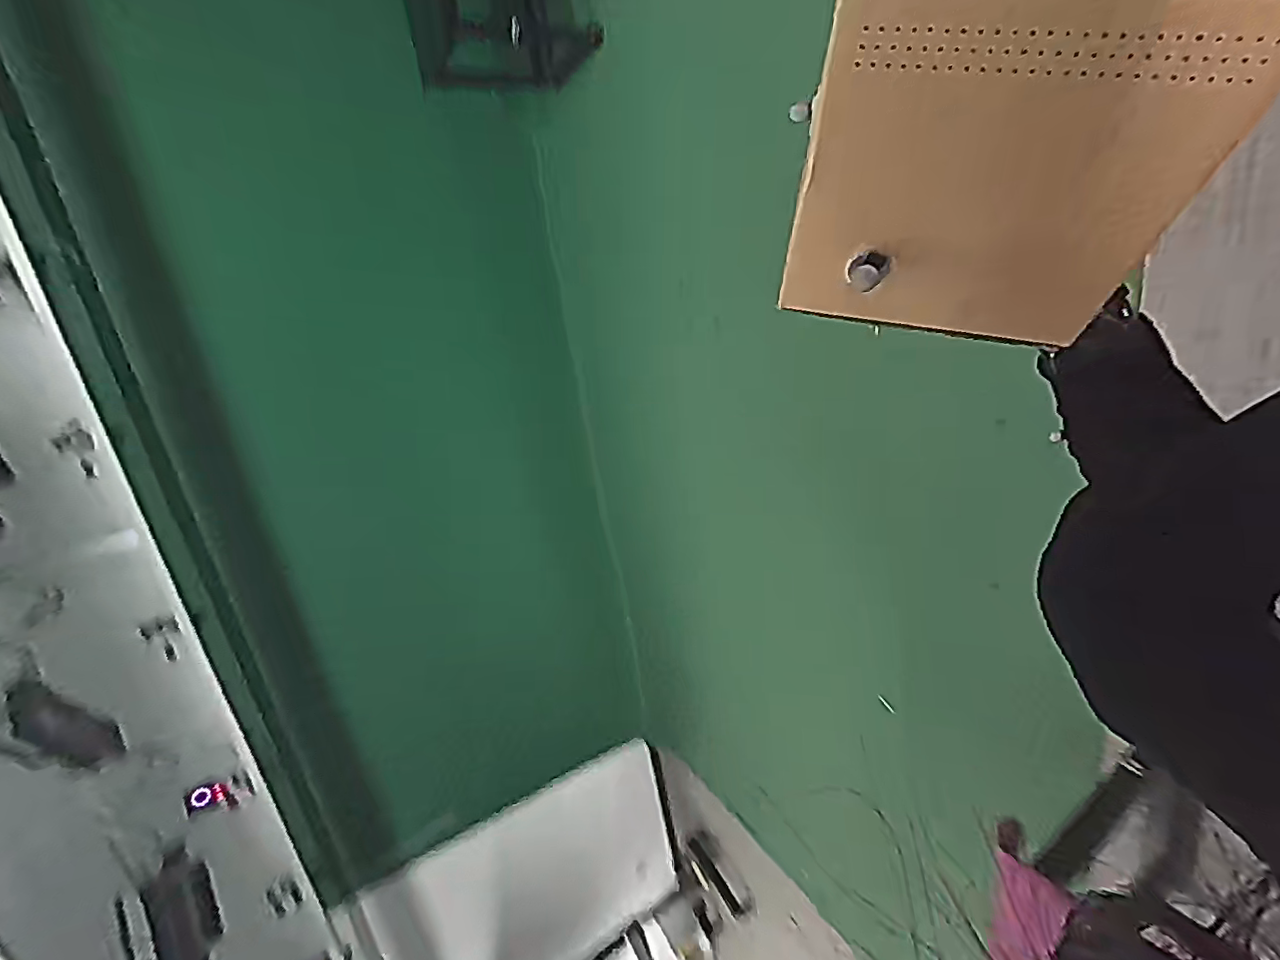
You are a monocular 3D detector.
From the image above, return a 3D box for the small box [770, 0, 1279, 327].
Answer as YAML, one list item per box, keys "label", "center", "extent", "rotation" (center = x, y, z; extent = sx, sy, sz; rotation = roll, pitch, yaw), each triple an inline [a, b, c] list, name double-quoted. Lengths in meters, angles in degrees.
- label: "small box"
  center: [0.184, -0.217, 0.304]
  extent: [0.176, 0.179, 0.168]
  rotation: [86, -161, -59]
